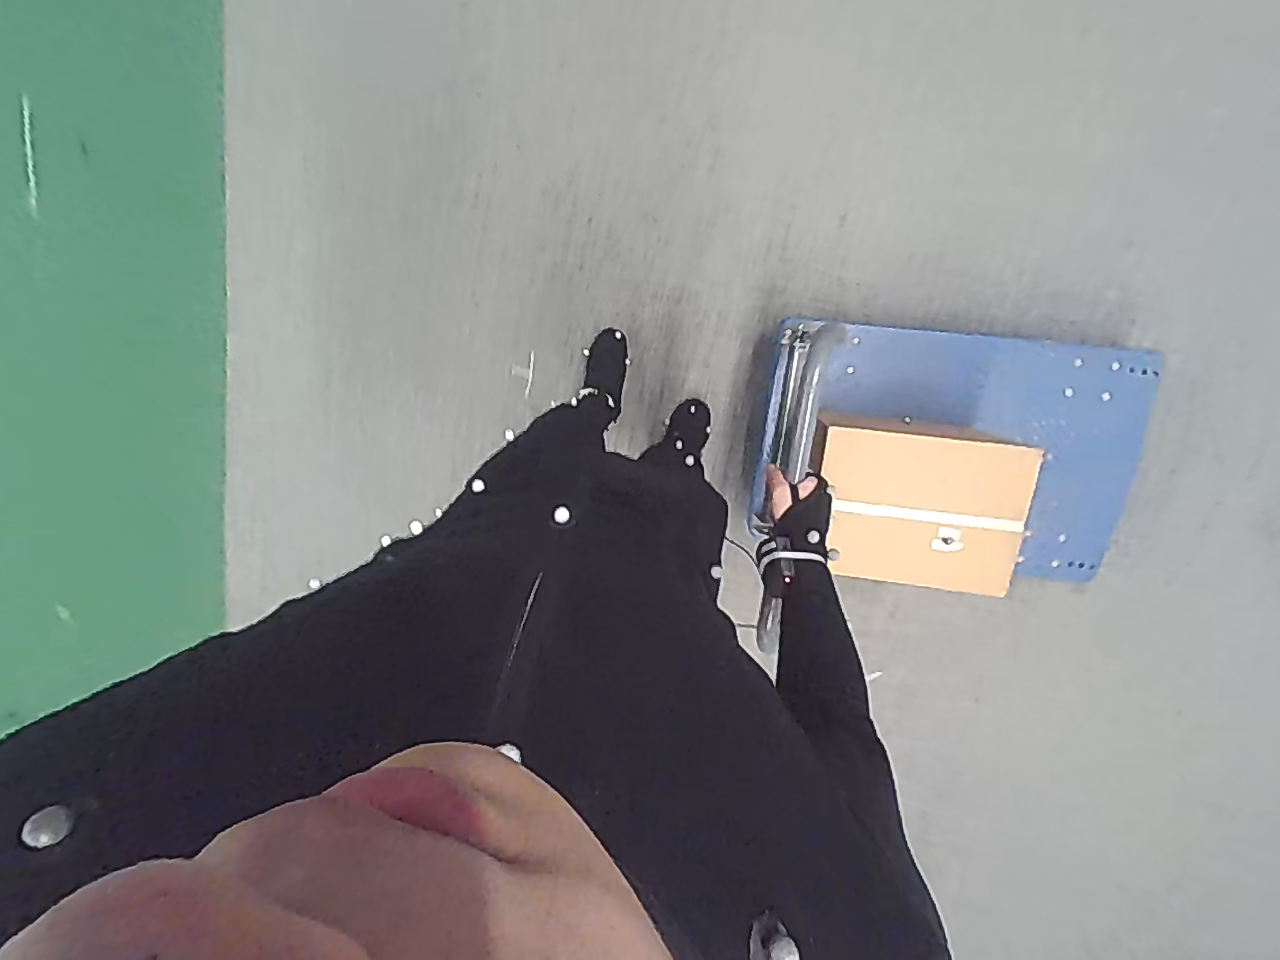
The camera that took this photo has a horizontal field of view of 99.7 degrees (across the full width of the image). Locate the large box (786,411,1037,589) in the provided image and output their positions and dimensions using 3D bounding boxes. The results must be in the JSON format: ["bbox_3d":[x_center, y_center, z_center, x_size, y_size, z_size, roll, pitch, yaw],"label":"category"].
[{"bbox_3d":[0.575,0.024,1.241,0.408,0.320,0.320,7,105,6],"label":"large box"}]
